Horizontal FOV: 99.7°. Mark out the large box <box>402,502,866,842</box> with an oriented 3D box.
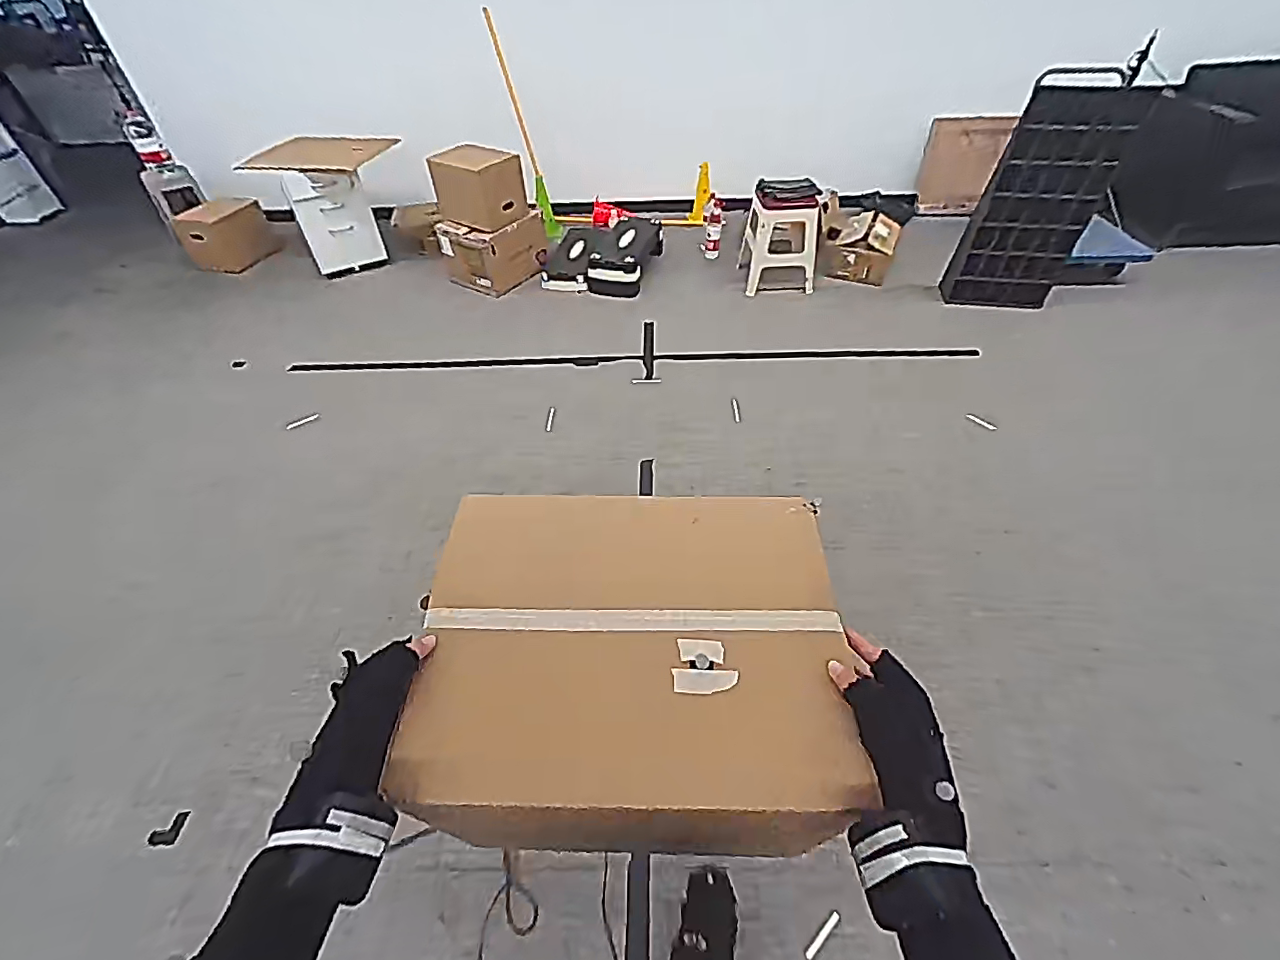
[{"bbox_3d":[-0.005,0.240,0.663,0.408,0.320,0.320,1,51,1],"label":"large box"}]
